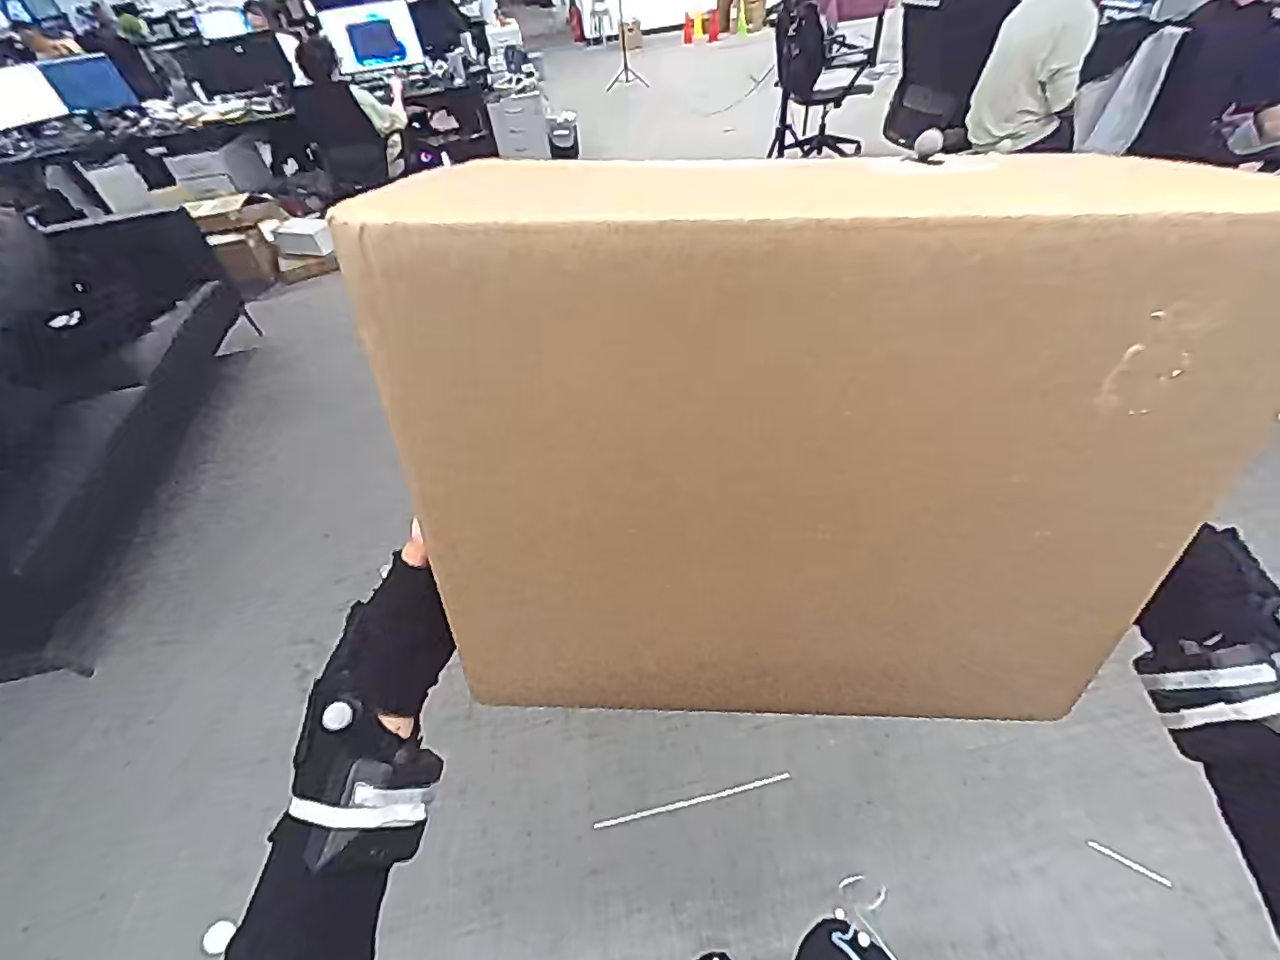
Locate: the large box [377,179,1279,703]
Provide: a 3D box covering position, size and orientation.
[{"bbox_3d":[0.088,-0.051,0.424,0.408,0.320,0.320,1,34,2],"label":"large box"}]
